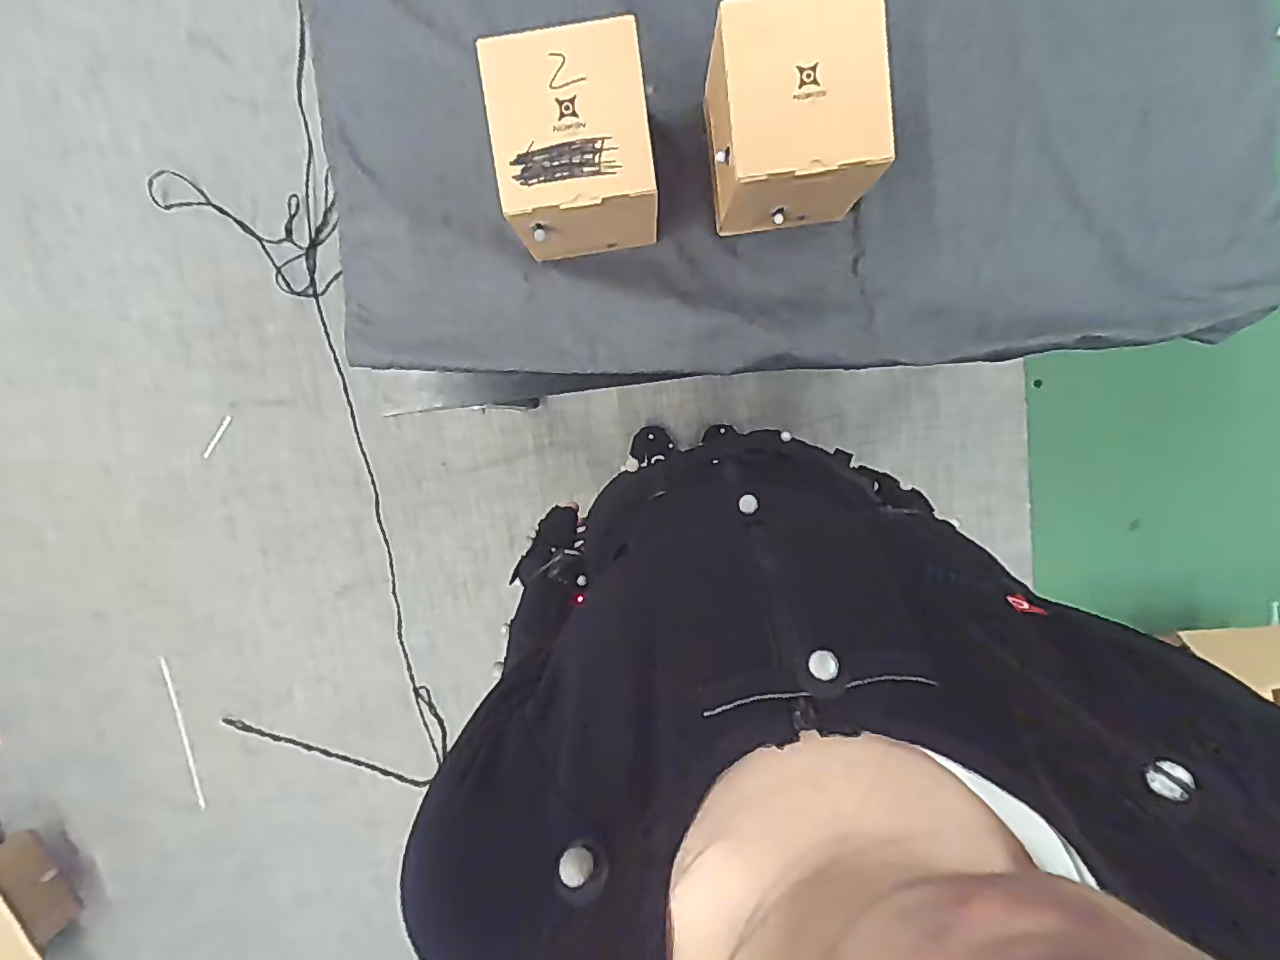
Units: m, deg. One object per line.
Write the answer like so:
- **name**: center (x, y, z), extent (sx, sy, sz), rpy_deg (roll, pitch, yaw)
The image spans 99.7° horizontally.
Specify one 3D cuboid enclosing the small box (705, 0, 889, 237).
- **small box**: center (0.174, -0.415, 0.645), extent (0.168, 0.176, 0.179), rpy_deg (-7, 97, 2)
